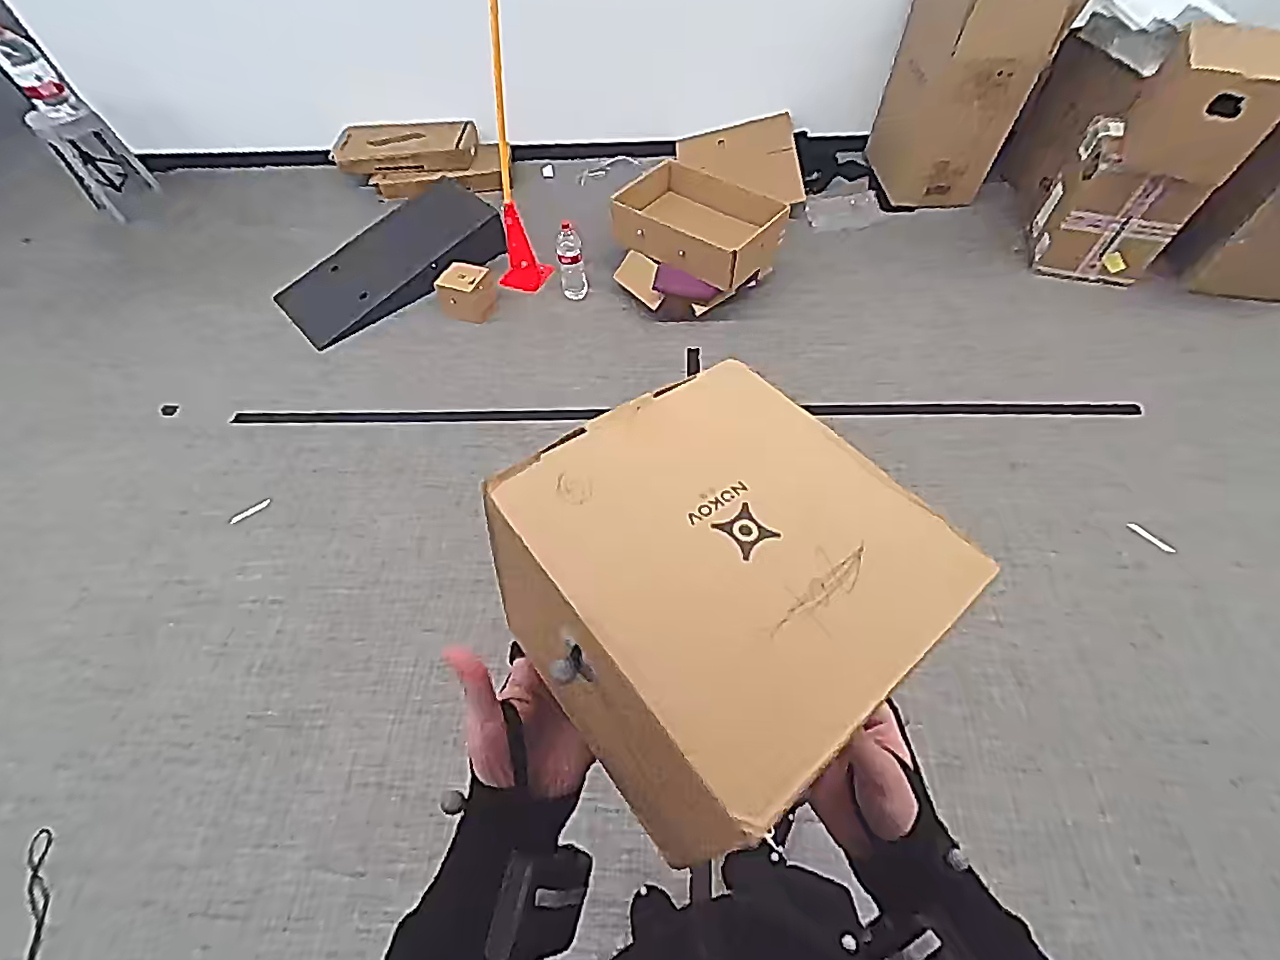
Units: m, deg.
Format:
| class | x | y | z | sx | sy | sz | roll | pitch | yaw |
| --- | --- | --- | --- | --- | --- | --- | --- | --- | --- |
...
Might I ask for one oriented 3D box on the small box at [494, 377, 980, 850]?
| class | x | y | z | sx | sy | sz | roll | pitch | yaw |
| --- | --- | --- | --- | --- | --- | --- | --- | --- | --- |
| small box | 0.037 | 0.077 | 0.316 | 0.168 | 0.176 | 0.179 | -32 | 62 | -27 |
